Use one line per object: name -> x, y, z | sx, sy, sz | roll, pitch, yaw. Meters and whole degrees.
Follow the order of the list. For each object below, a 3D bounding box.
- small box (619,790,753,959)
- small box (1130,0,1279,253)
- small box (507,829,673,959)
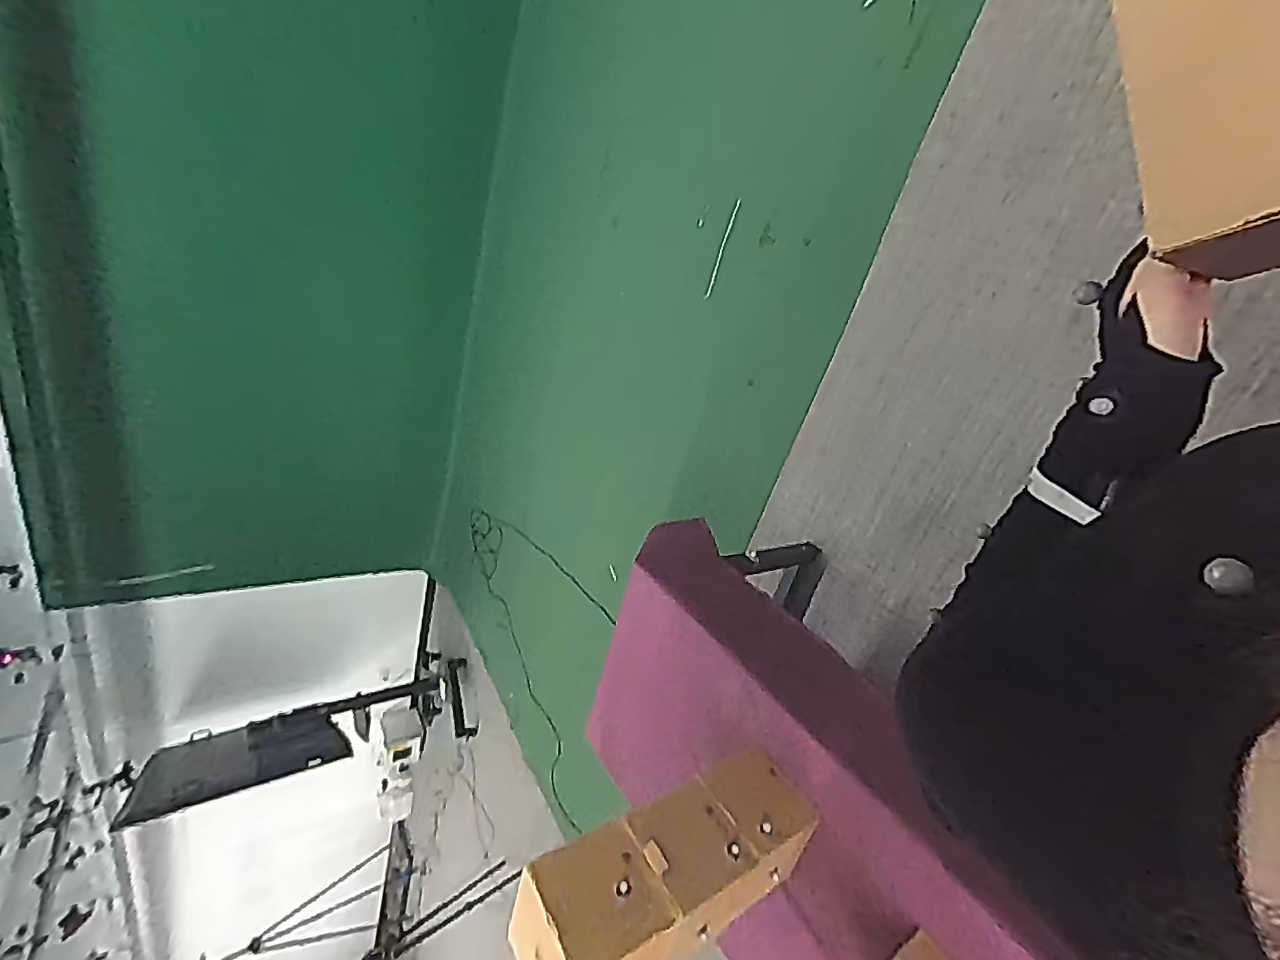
small box -> 0.059, 0.653, 0.884 | 0.168, 0.176, 0.179 | 38, 122, 45
small box -> 0.355, -0.218, 0.242 | 0.168, 0.176, 0.179 | -7, 91, 56
small box -> -0.075, 0.665, 0.791 | 0.168, 0.176, 0.179 | 37, 120, 46
